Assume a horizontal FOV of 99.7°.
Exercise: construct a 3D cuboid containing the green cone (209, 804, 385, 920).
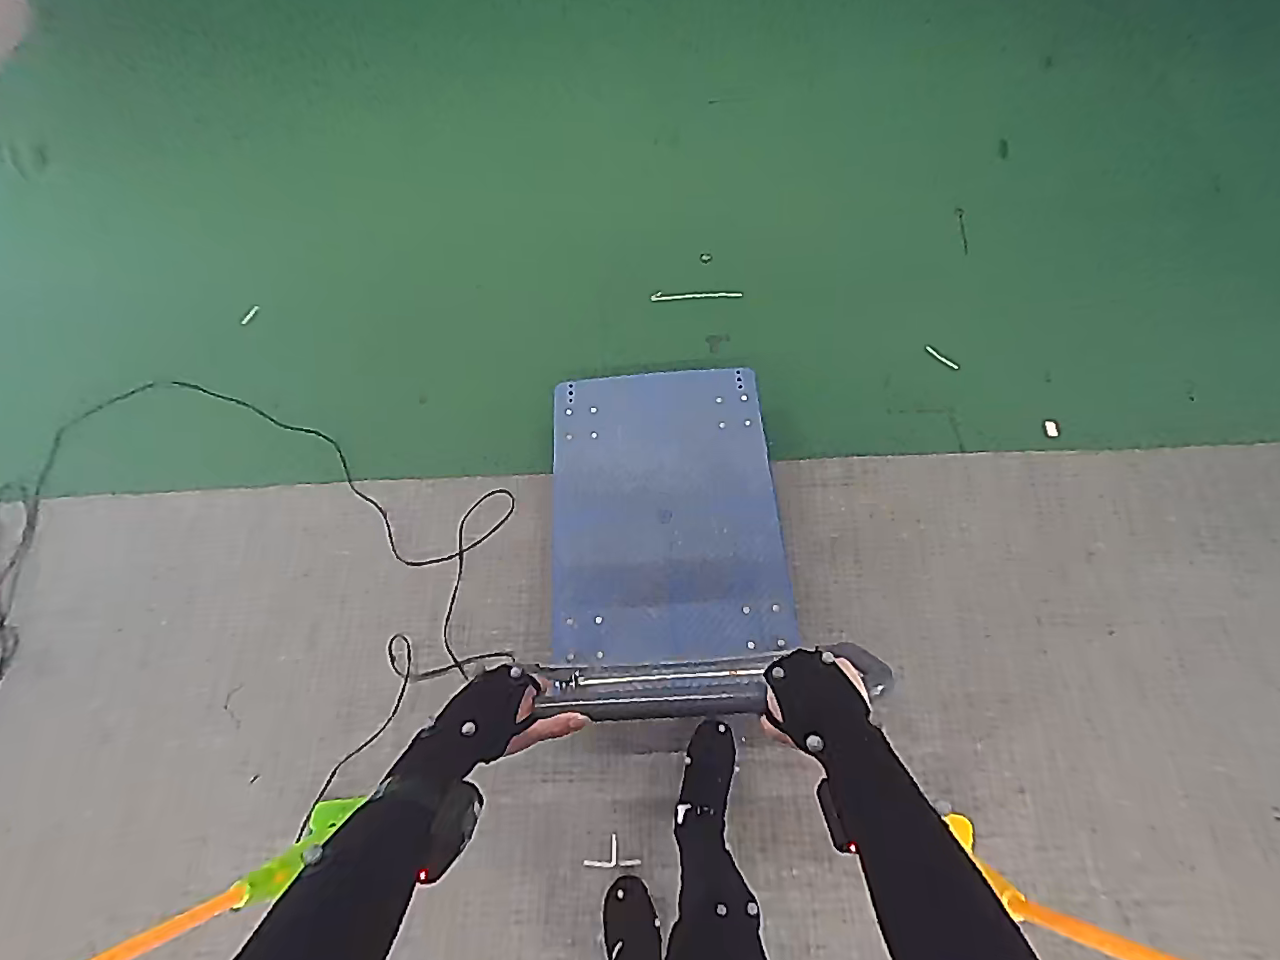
[{"bbox_3d":[-0.709,0.804,1.099,0.202,0.368,0.200,-7,66,2],"label":"green cone"}]
